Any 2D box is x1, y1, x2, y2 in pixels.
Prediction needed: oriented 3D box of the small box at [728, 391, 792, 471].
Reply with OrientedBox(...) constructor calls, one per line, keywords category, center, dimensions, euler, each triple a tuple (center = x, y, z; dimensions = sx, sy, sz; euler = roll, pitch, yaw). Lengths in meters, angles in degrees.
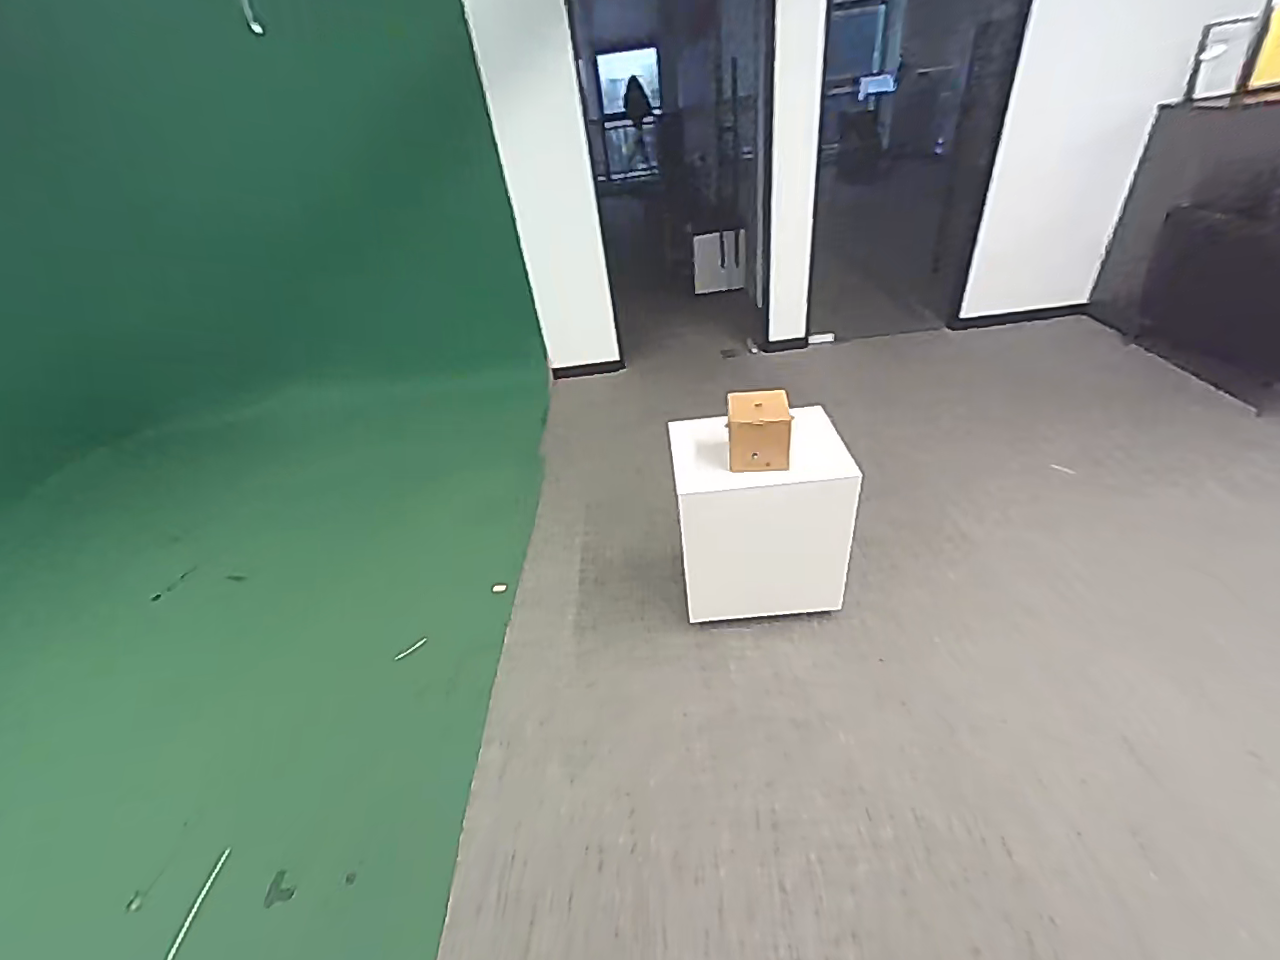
OrientedBox(category="small box", center=(0.339, -0.141, 1.557), dimensions=(0.168, 0.176, 0.179), euler=(-3, 36, 8))
